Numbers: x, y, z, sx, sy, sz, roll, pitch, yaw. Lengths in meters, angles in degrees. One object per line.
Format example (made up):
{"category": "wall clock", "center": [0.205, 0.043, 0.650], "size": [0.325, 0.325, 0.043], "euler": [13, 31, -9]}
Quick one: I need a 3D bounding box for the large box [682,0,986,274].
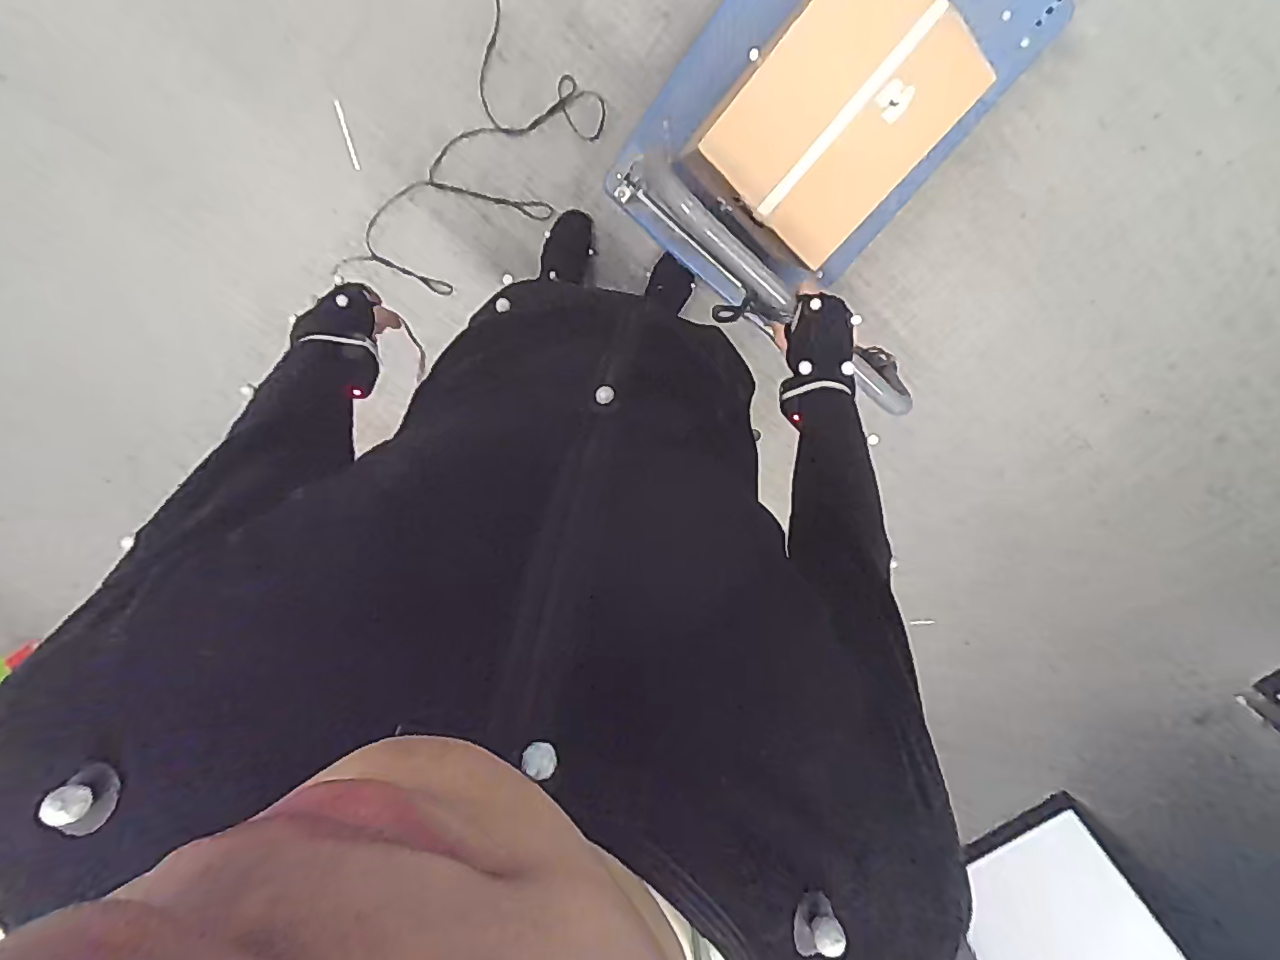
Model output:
{"category": "large box", "center": [0.334, -0.675, 1.053], "size": [0.320, 0.320, 0.408], "euler": [37, 109, -20]}
